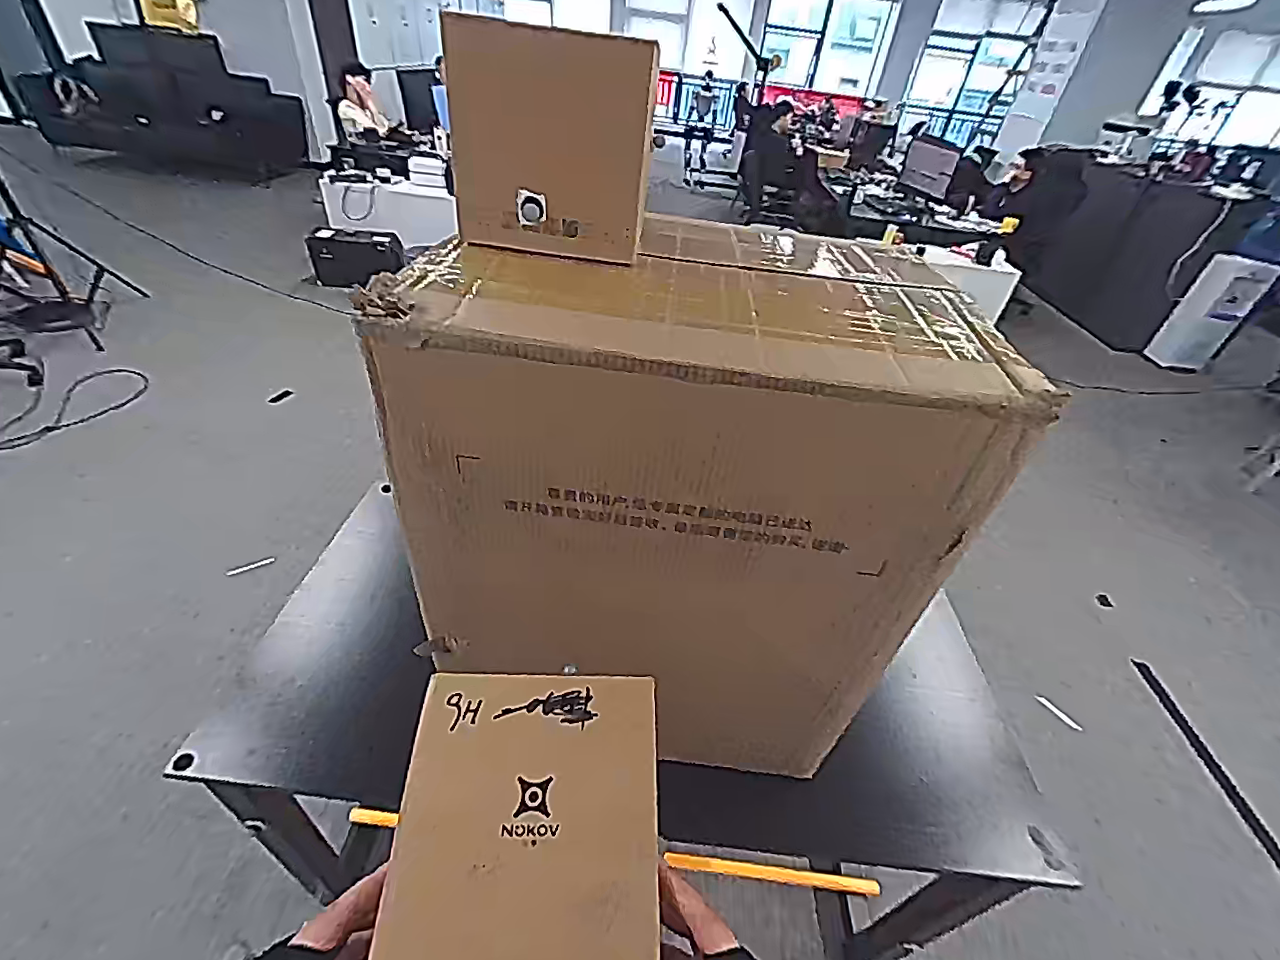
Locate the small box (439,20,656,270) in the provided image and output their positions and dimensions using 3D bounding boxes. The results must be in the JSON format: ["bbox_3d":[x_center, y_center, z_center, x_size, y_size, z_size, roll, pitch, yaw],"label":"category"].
[{"bbox_3d":[-0.076,-0.319,0.521,0.168,0.176,0.179,5,38,-1],"label":"small box"}]

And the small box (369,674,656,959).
[{"bbox_3d":[-0.075,0.259,0.410,0.168,0.176,0.179,1,54,-3],"label":"small box"}]
